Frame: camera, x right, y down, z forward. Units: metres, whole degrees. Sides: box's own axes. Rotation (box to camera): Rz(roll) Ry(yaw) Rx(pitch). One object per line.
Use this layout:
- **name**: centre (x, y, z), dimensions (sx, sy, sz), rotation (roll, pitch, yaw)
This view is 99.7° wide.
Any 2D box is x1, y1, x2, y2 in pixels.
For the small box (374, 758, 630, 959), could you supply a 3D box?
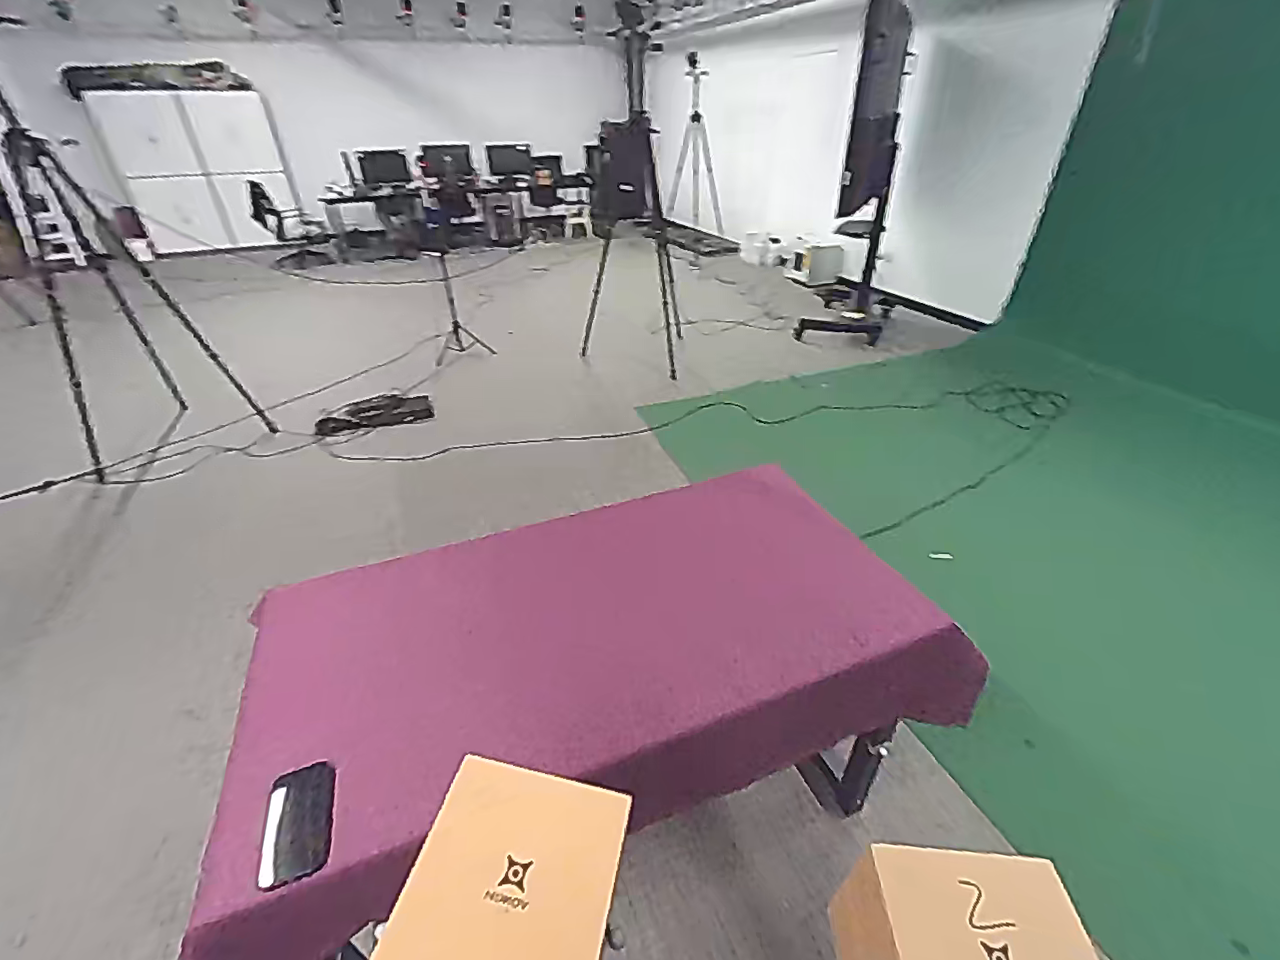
- **small box**: centre (-0.113, 0.394, 0.487), dimensions (0.168, 0.176, 0.179), rotation (11, 36, 4)
